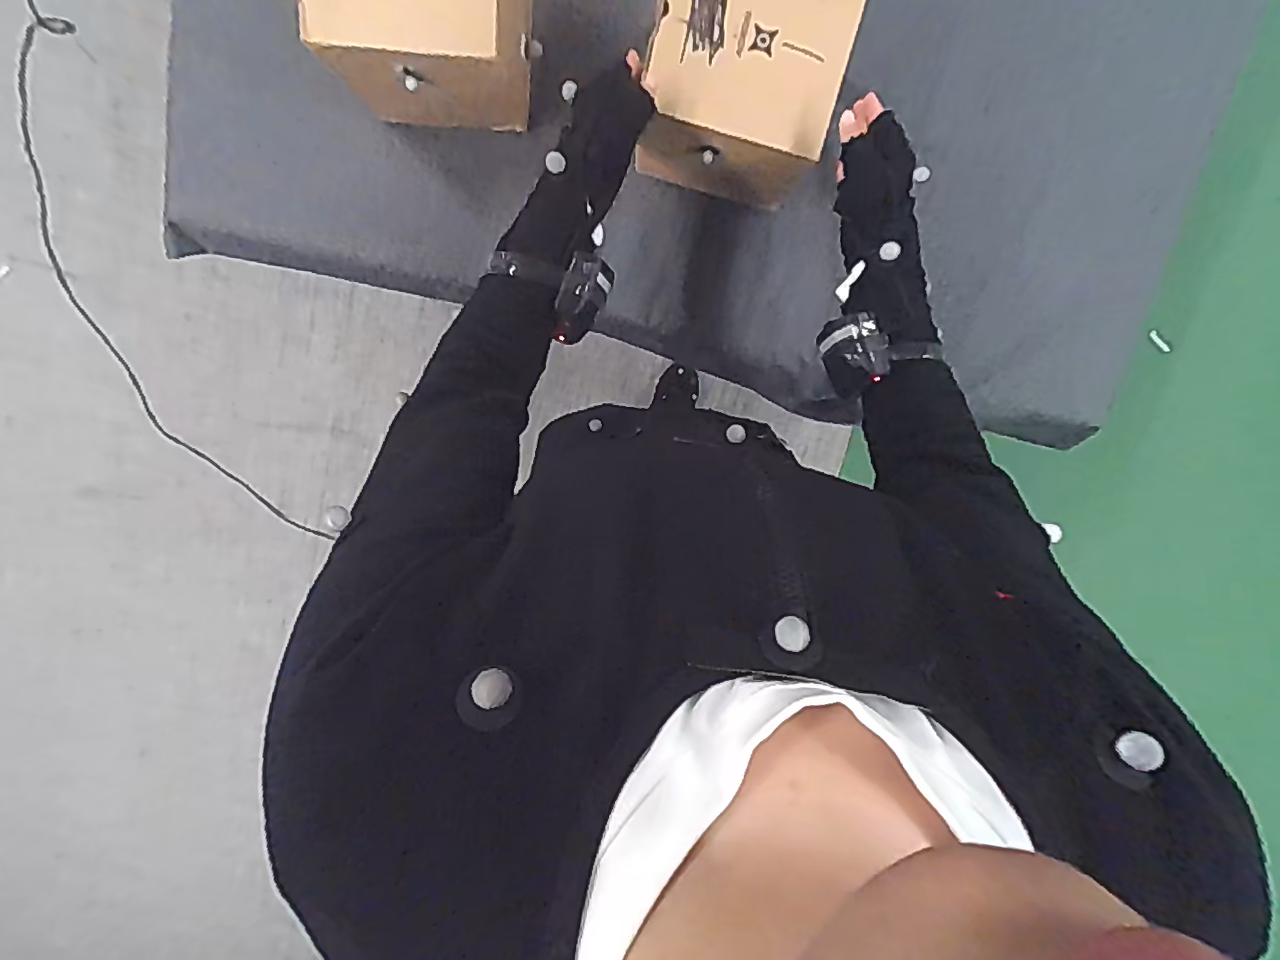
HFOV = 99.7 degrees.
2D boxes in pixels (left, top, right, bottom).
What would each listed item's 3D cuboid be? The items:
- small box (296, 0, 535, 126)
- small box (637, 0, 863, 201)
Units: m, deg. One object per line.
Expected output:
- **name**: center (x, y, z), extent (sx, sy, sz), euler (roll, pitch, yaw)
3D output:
- **small box**: center (-0.210, -0.482, 0.540), extent (0.179, 0.176, 0.168), euler (4, 103, -2)
- **small box**: center (0.099, -0.412, 0.557), extent (0.179, 0.176, 0.168), euler (14, 102, -4)
